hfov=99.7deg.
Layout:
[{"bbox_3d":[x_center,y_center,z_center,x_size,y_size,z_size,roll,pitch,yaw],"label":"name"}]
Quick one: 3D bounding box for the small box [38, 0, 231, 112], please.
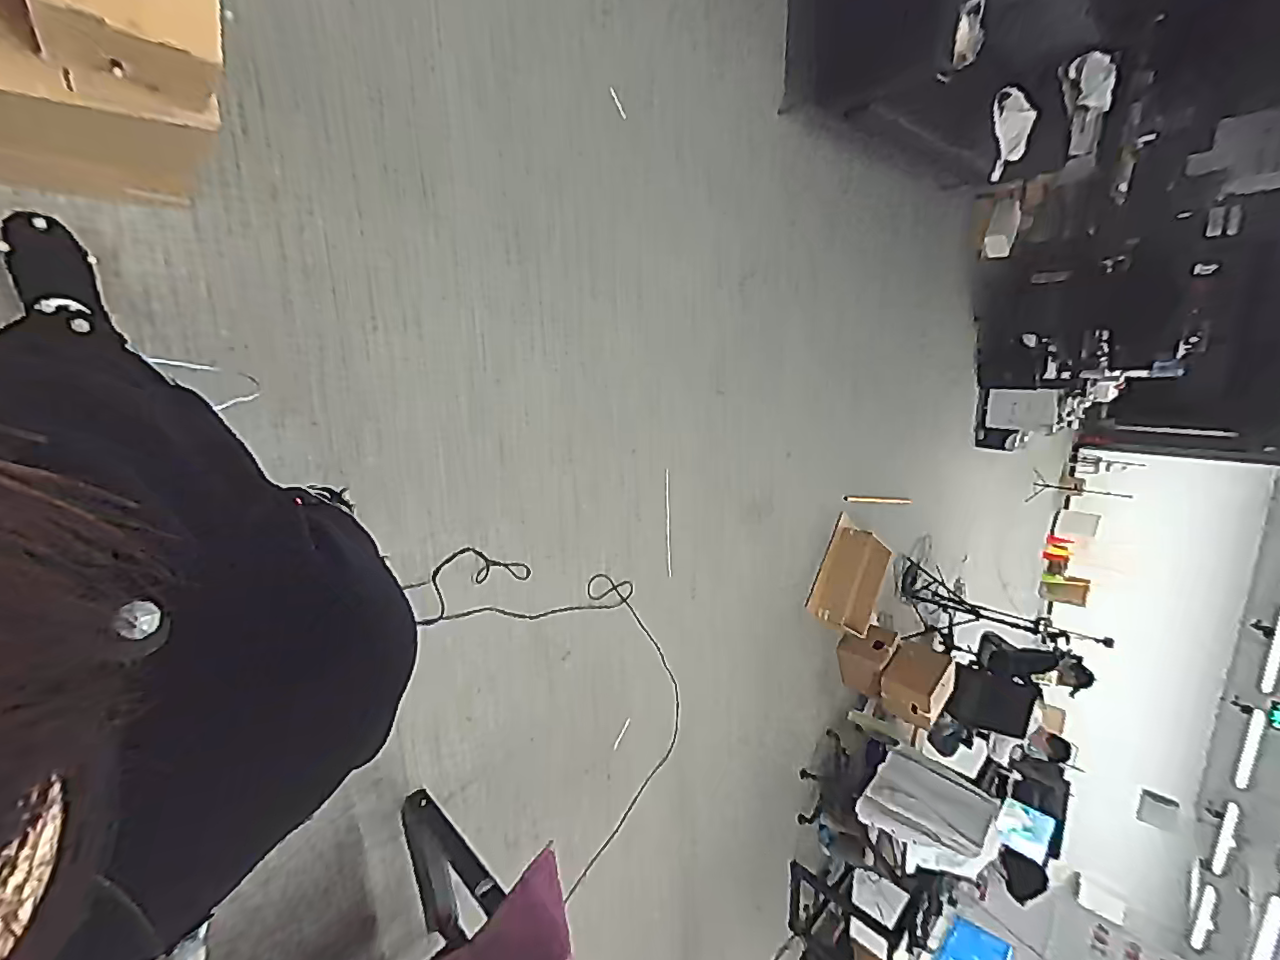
[{"bbox_3d":[-0.615,-0.596,0.657,0.168,0.176,0.179,-5,102,-42],"label":"small box"}]
